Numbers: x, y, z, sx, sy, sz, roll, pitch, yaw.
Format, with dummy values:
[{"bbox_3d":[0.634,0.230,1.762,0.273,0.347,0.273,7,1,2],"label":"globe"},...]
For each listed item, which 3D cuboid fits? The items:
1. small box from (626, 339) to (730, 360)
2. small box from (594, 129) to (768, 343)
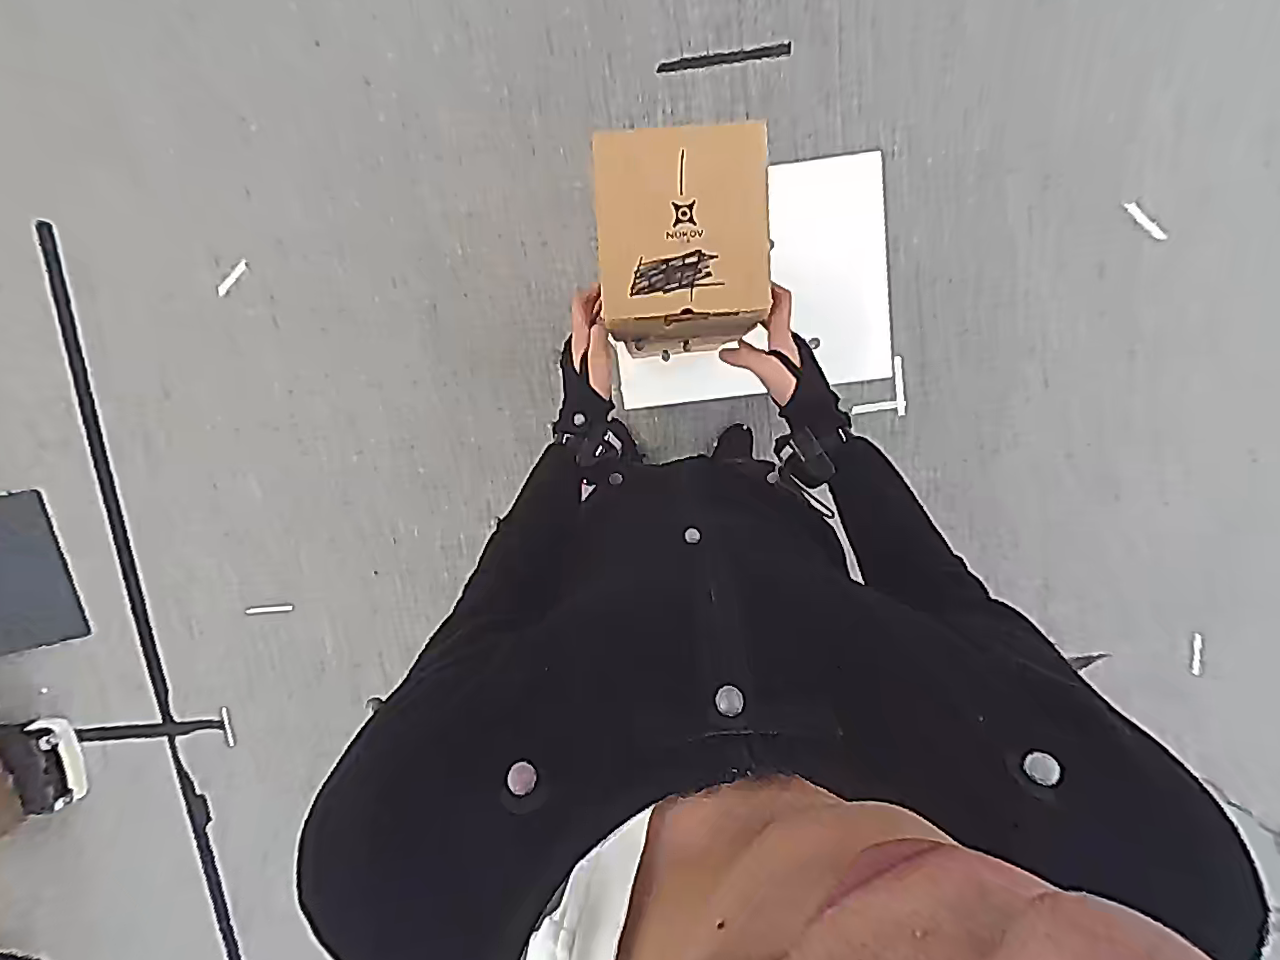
[{"bbox_3d":[0.056,-0.300,0.921,0.168,0.176,0.179,-6,98,1],"label":"small box"},{"bbox_3d":[0.043,-0.249,0.596,0.168,0.176,0.179,-3,97,2],"label":"small box"}]
